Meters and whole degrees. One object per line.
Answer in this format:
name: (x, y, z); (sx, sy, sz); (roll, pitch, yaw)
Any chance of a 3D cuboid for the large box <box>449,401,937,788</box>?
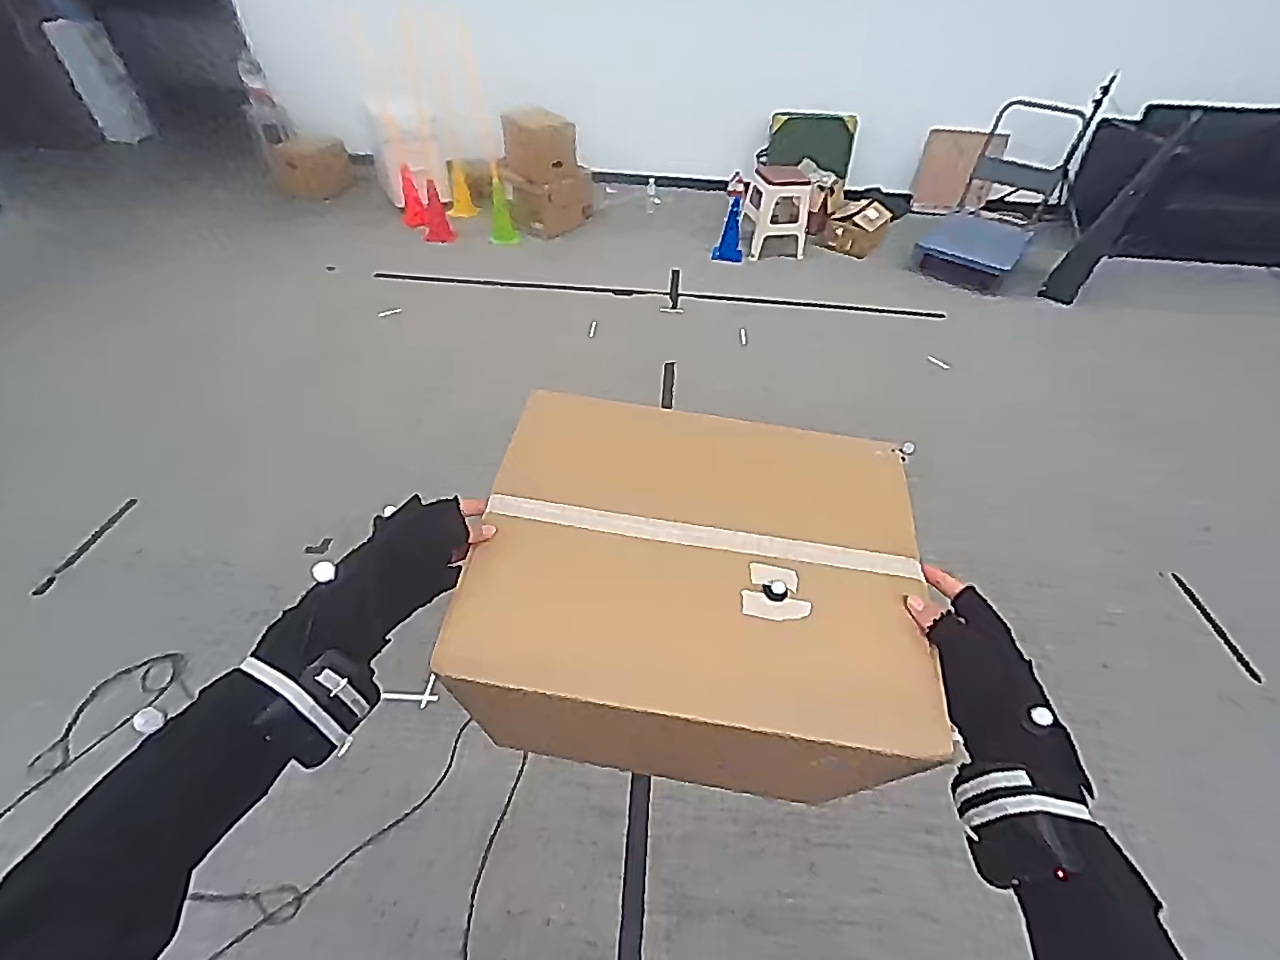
large box: (0.047, 0.144, 0.636); (0.408, 0.320, 0.320); (9, 55, 2)
